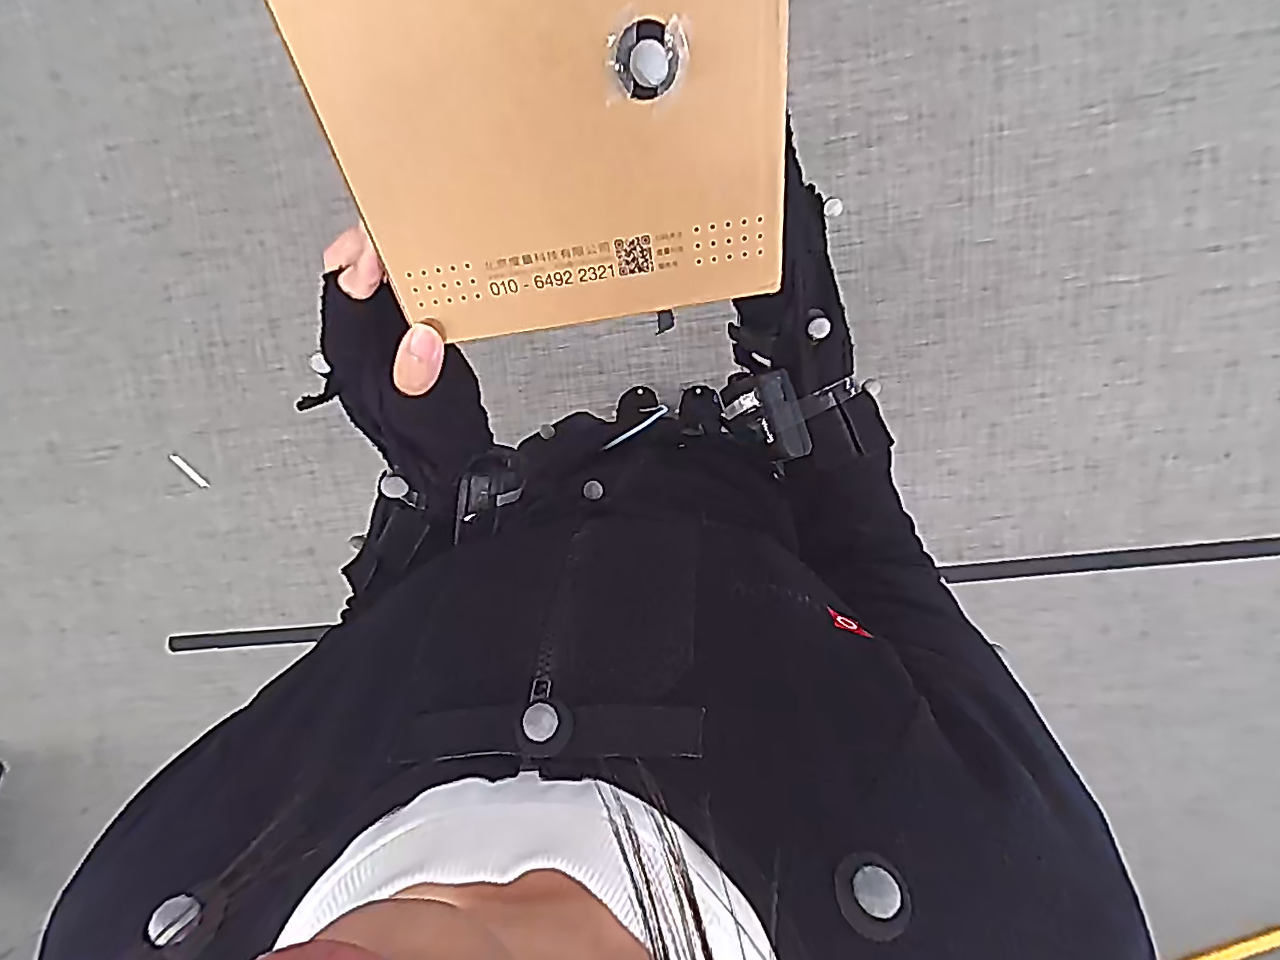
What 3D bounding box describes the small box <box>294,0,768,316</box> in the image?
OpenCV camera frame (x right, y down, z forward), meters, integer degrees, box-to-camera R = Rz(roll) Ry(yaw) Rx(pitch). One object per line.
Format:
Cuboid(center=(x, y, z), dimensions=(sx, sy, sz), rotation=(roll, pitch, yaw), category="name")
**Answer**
Cuboid(center=(-0.031, -0.192, 0.271), dimensions=(0.168, 0.179, 0.176), rotation=(-7, 130, 5), category="small box")
